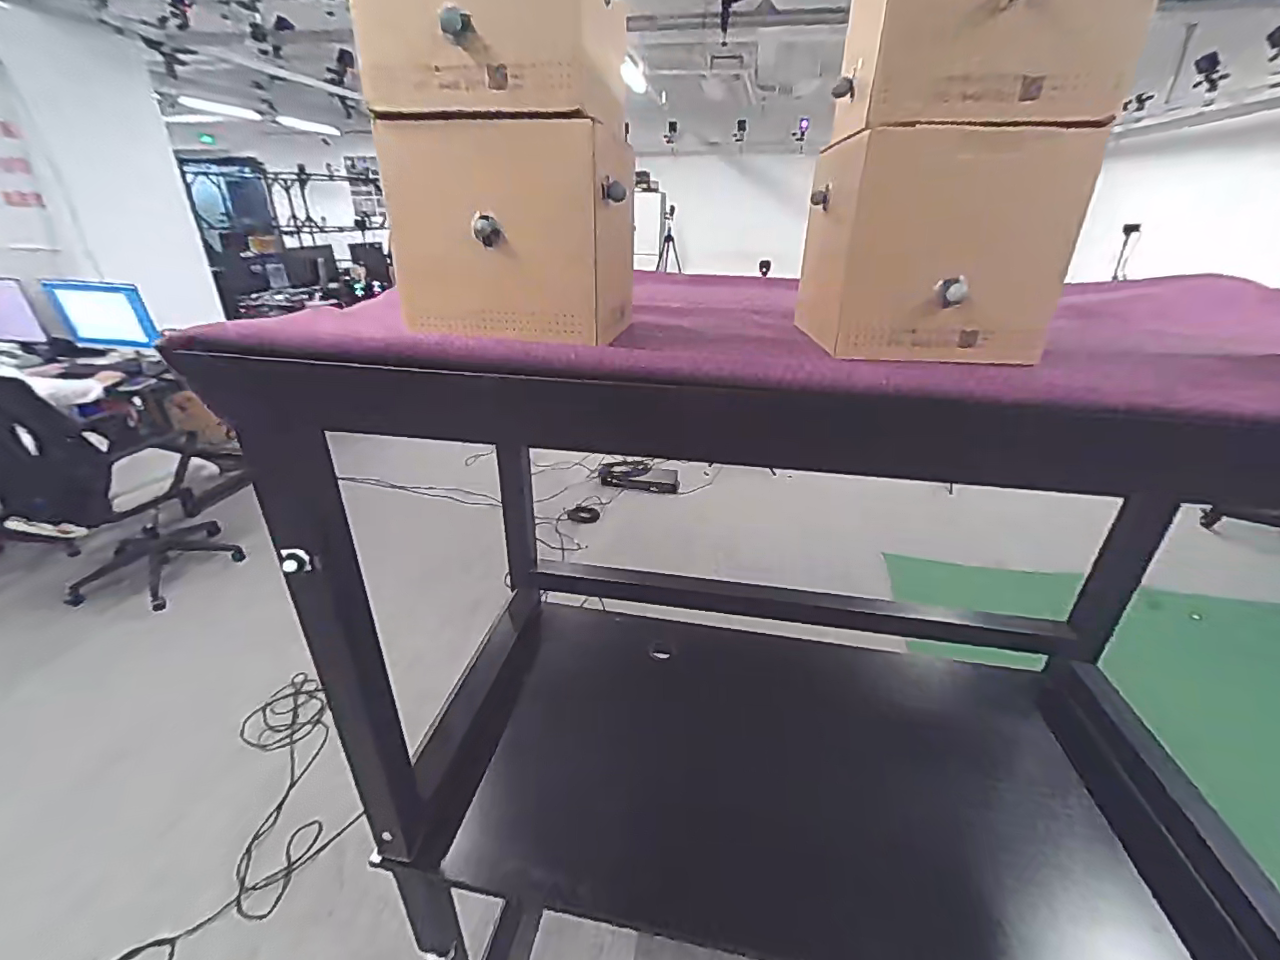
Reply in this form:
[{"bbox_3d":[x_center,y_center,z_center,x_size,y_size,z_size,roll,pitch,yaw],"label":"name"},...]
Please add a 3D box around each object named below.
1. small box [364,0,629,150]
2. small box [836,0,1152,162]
[{"bbox_3d":[-0.102,-0.365,0.426,0.168,0.176,0.179,4,26,6],"label":"small box"},{"bbox_3d":[0.260,-0.351,0.418,0.168,0.176,0.179,5,26,7],"label":"small box"}]
